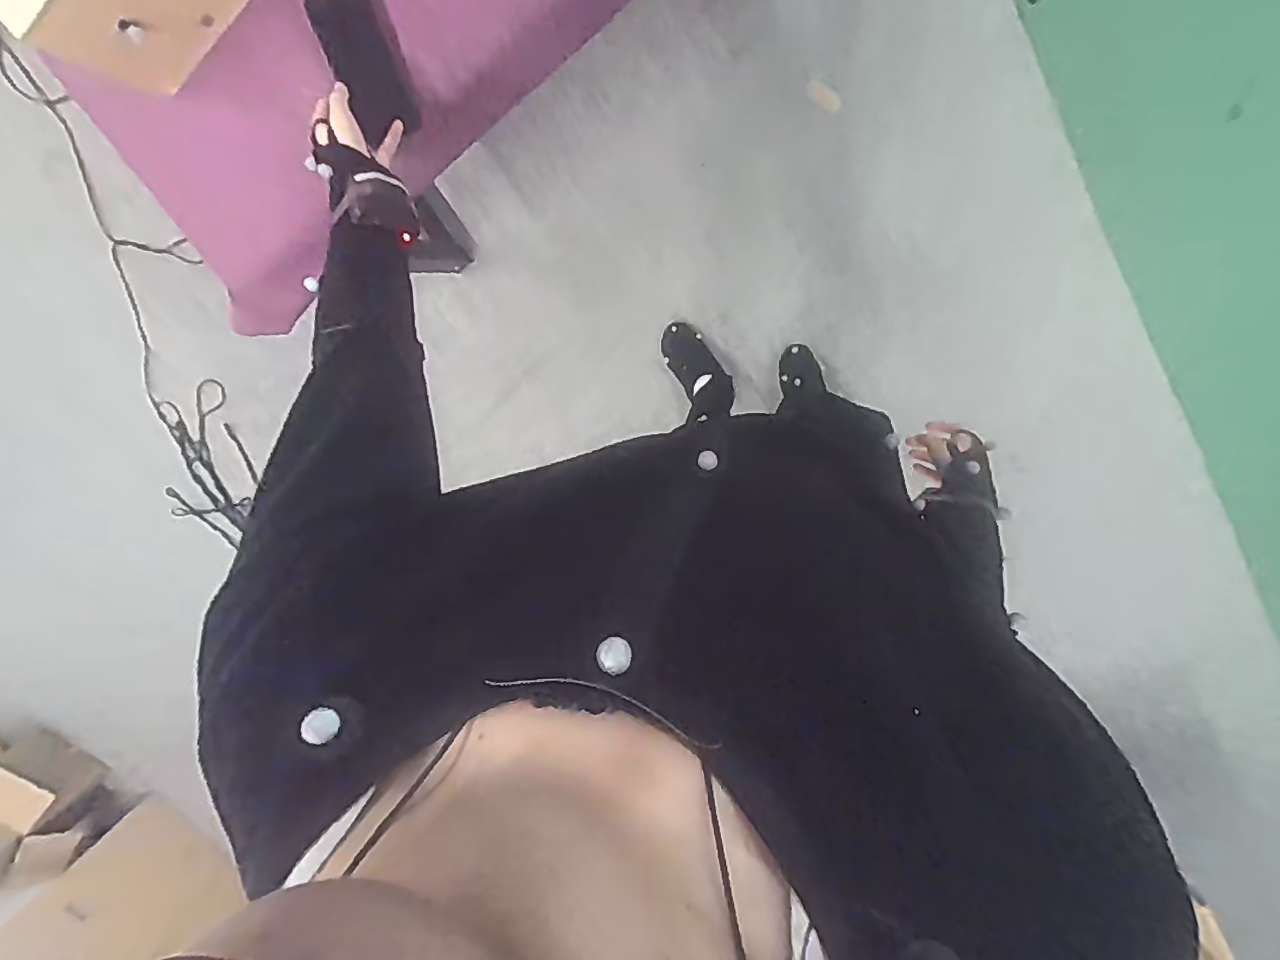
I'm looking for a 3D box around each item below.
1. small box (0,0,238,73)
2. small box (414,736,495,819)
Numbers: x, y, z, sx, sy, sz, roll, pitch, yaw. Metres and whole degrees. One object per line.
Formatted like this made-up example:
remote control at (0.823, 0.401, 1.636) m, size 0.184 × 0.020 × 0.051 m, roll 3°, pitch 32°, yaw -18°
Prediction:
small box at (-0.549, -0.545, 0.527) m, size 0.168 × 0.176 × 0.179 m, roll -32°, pitch 103°, yaw 17°
small box at (-0.645, 1.034, 1.899) m, size 0.168 × 0.176 × 0.179 m, roll -32°, pitch 105°, yaw 16°
